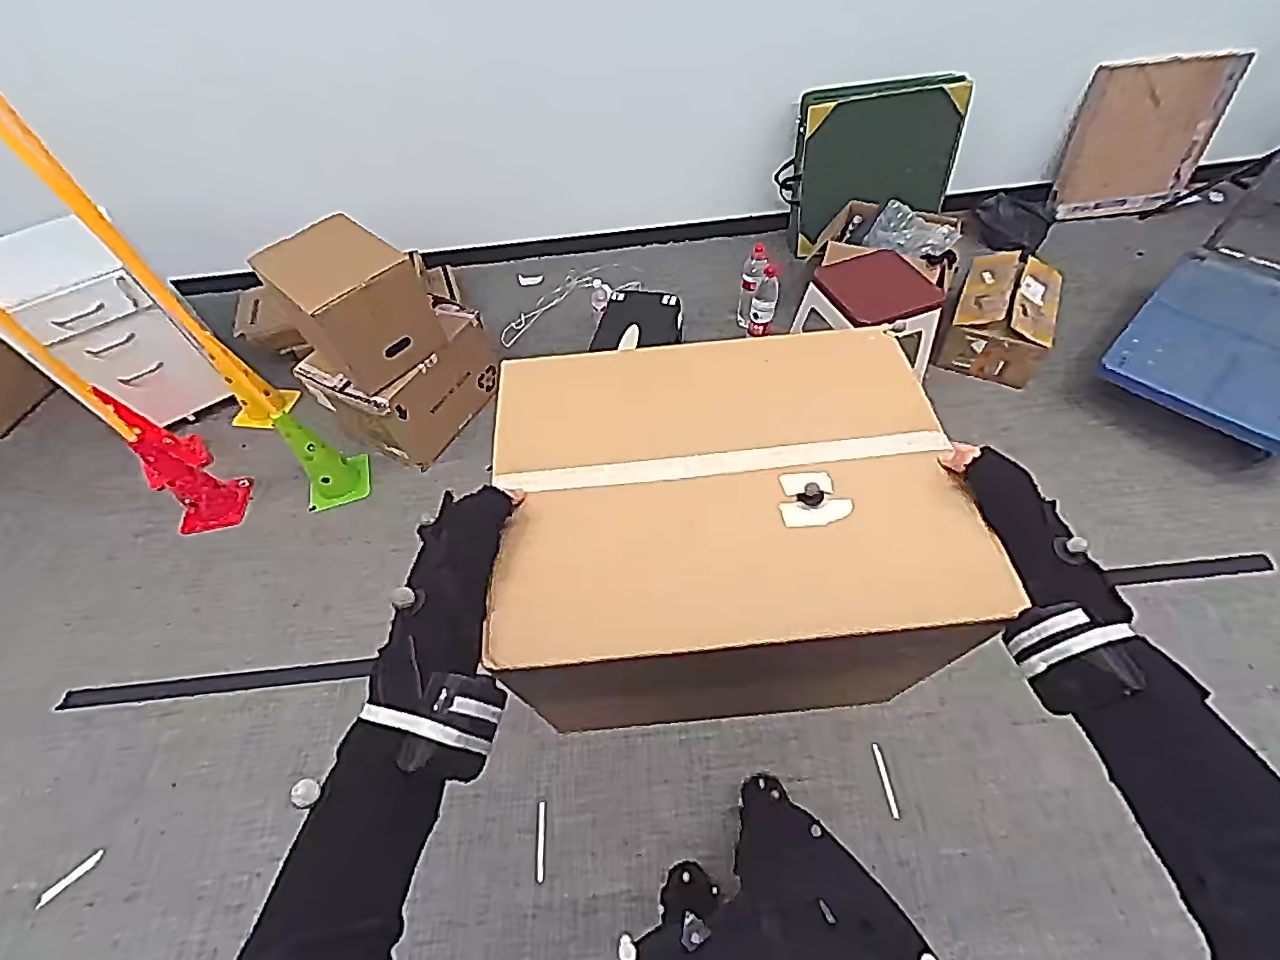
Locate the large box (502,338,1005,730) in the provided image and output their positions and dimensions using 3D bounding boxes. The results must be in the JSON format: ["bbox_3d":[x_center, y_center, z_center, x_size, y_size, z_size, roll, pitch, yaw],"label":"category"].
[{"bbox_3d":[0.080,0.076,0.620,0.408,0.320,0.320,-6,57,-1],"label":"large box"}]
